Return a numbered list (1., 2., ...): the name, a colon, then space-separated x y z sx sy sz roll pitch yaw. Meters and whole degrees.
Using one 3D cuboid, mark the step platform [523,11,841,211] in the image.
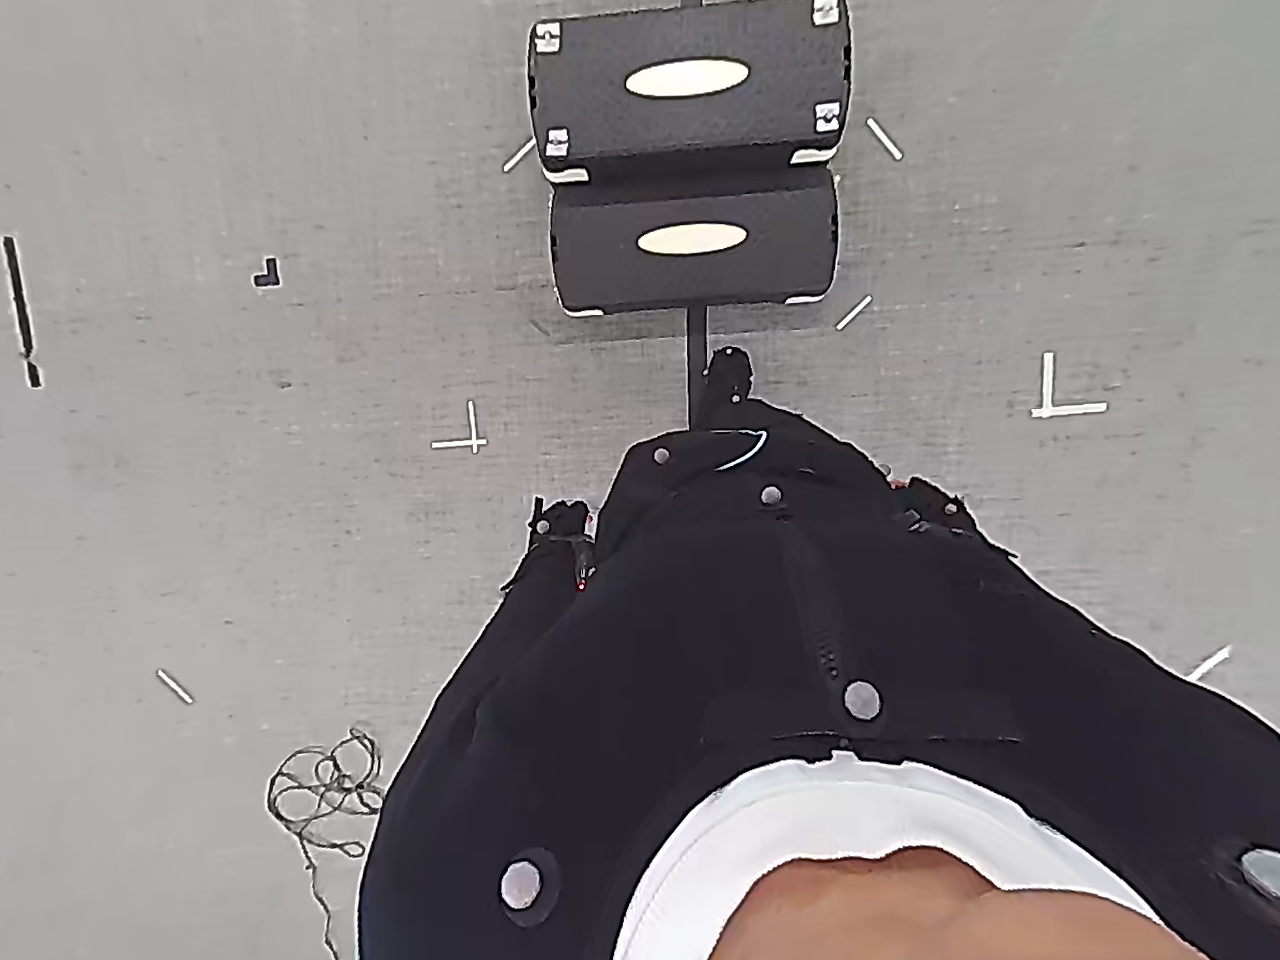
1. step platform: 0.088 -0.807 1.209 0.684 0.204 0.286 -3 100 4
